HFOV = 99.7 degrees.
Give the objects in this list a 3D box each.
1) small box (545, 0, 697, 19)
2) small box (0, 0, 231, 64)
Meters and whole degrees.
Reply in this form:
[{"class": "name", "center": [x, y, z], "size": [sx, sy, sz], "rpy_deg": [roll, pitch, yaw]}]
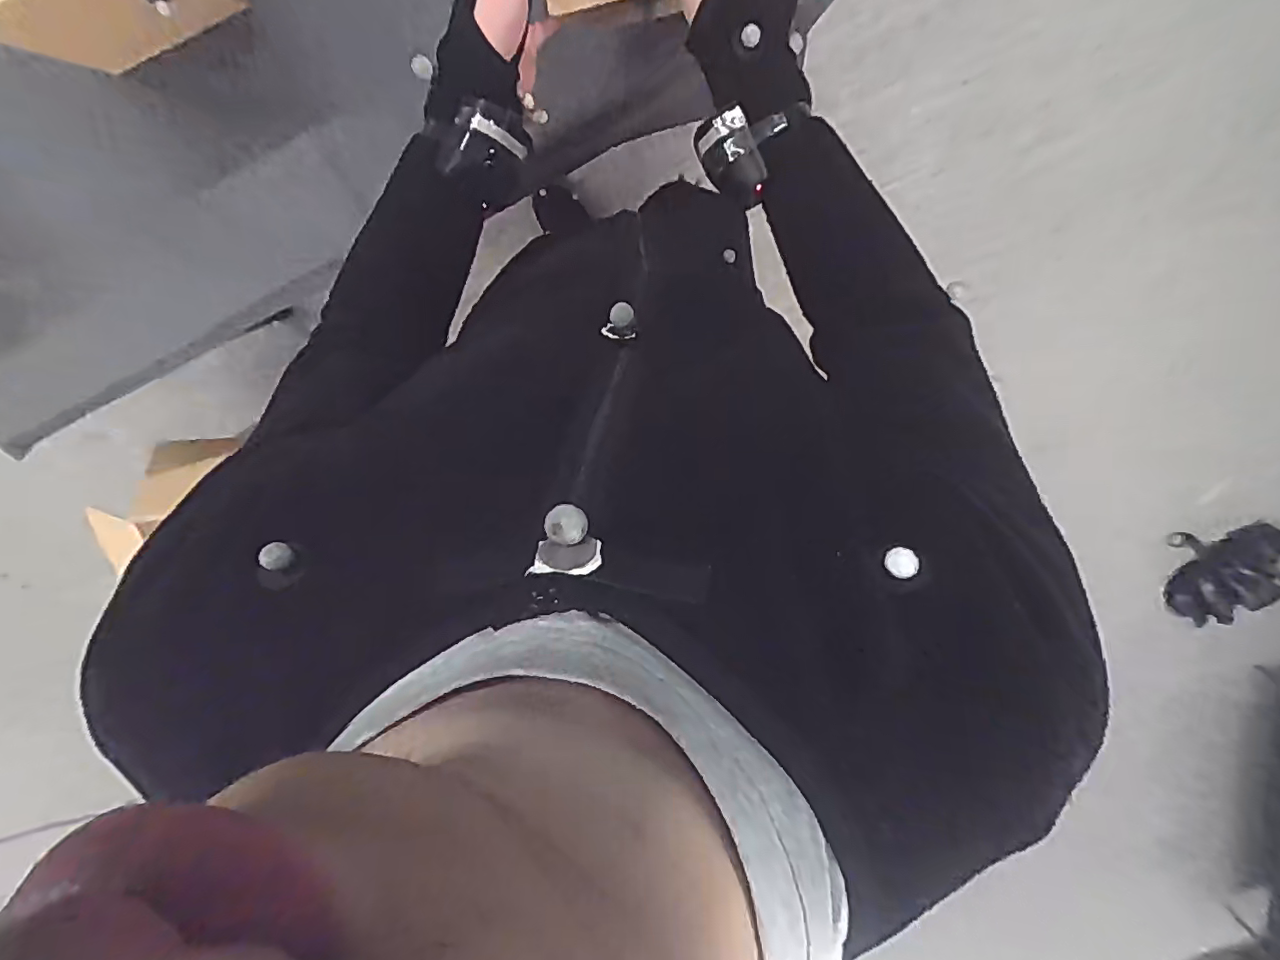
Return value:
[{"class": "small box", "center": [0.014, -0.490, 0.426], "size": [0.179, 0.176, 0.168], "rpy_deg": [0, 126, 16]}, {"class": "small box", "center": [-0.504, -0.501, 0.464], "size": [0.179, 0.176, 0.168], "rpy_deg": [-19, 115, 8]}]
